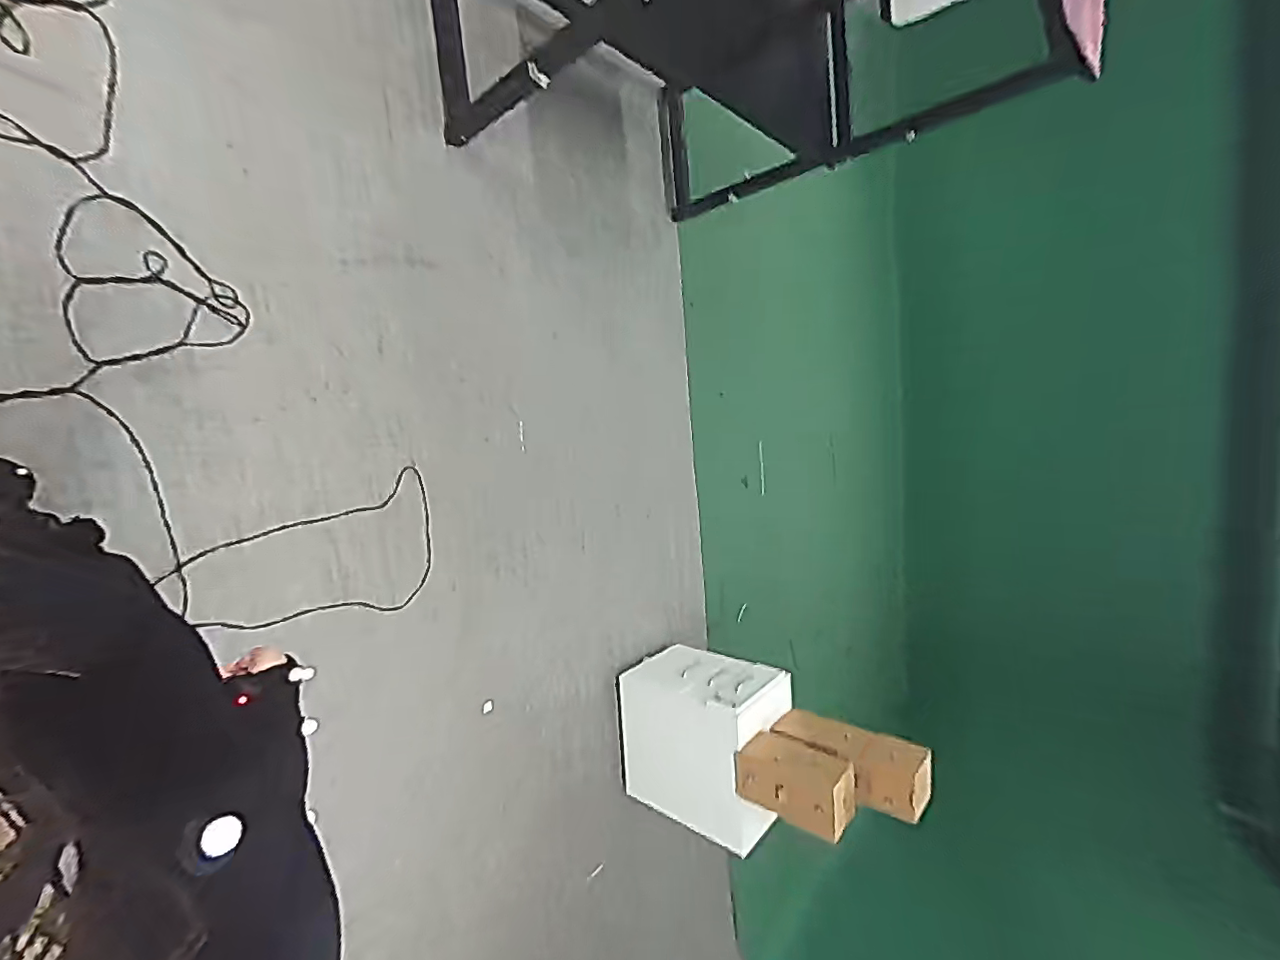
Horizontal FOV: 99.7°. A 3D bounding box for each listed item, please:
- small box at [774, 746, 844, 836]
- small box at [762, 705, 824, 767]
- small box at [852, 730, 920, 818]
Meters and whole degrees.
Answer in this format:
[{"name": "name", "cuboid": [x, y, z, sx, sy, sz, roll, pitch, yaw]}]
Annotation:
[{"name": "small box", "cuboid": [0.542, 0.985, 1.737, 0.168, 0.176, 0.179, -8, 98, -48]}, {"name": "small box", "cuboid": [0.573, 0.971, 2.021, 0.179, 0.176, 0.168, -10, 99, -46]}, {"name": "small box", "cuboid": [0.819, 0.972, 1.803, 0.179, 0.176, 0.168, -9, 100, -48]}]
